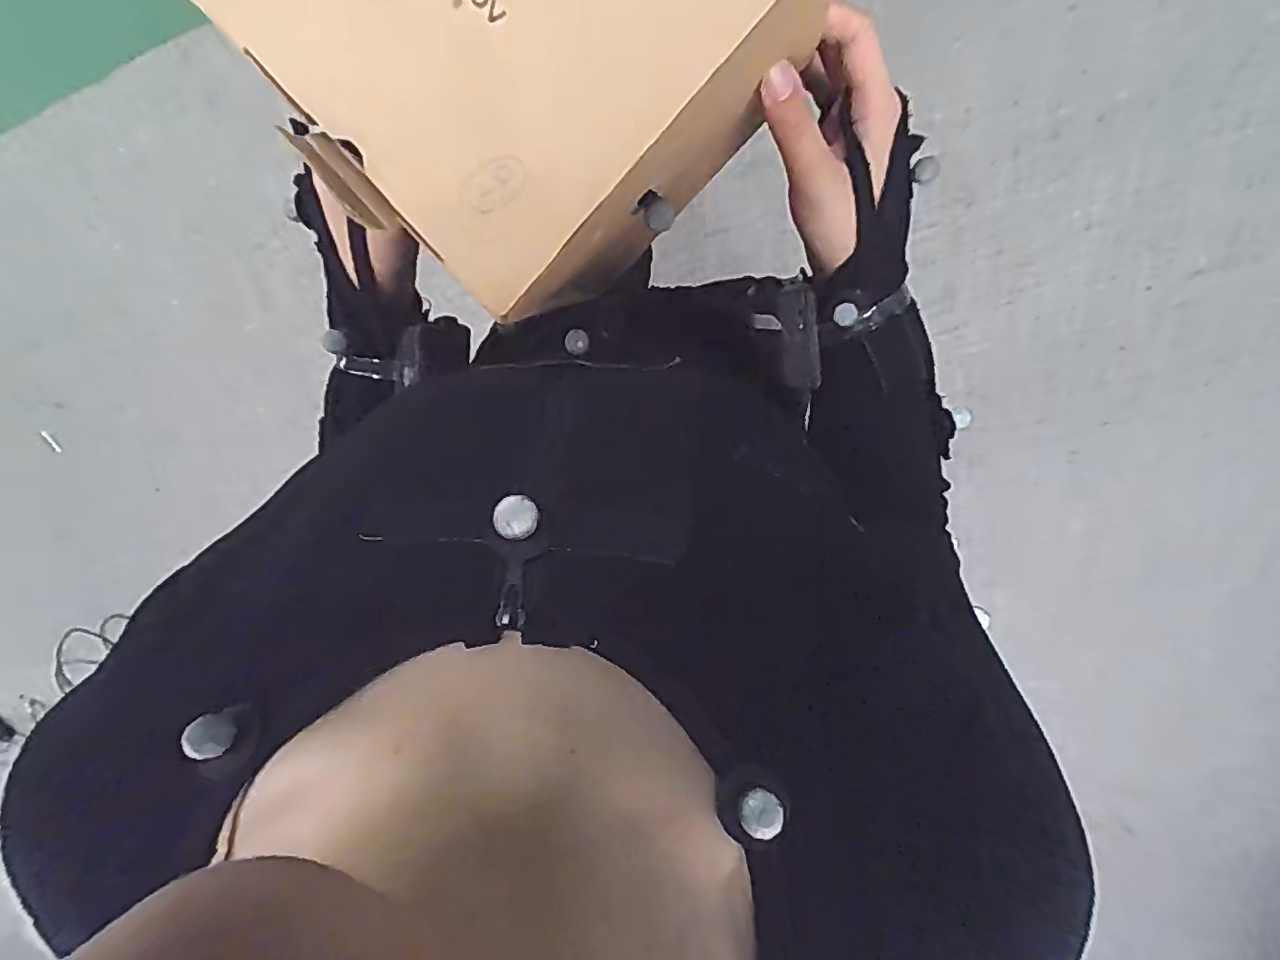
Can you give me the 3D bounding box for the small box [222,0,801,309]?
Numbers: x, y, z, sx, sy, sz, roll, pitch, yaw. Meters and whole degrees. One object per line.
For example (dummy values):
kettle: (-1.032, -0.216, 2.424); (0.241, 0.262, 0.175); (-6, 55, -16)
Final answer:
small box: (-0.035, -0.210, 0.263); (0.179, 0.176, 0.168); (-40, 100, 23)
